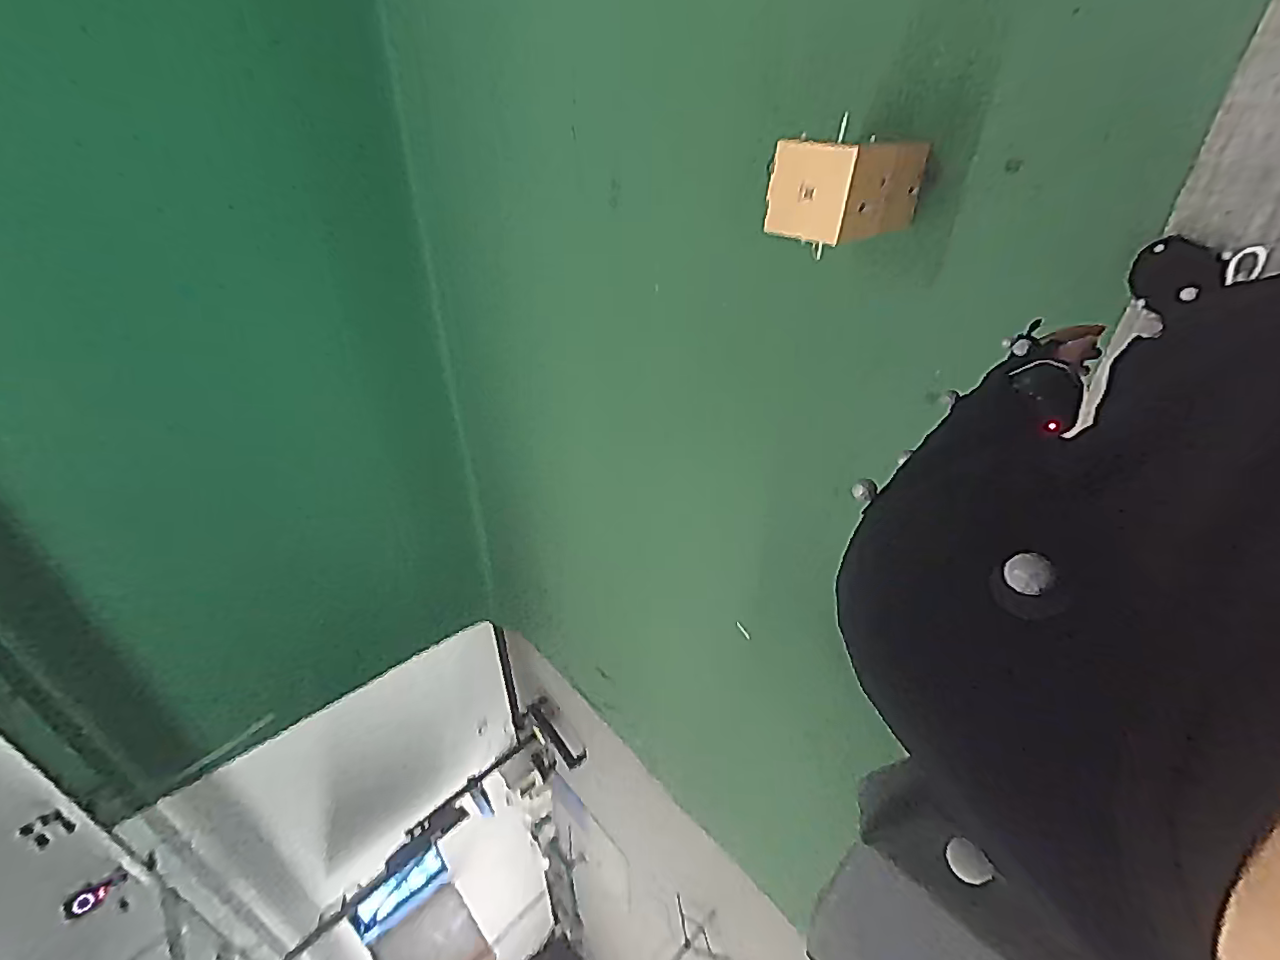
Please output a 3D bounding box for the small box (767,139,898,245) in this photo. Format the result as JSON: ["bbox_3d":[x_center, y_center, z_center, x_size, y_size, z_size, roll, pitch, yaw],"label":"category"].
[{"bbox_3d":[0.389,-0.588,1.096,0.179,0.176,0.168,32,135,37],"label":"small box"}]
